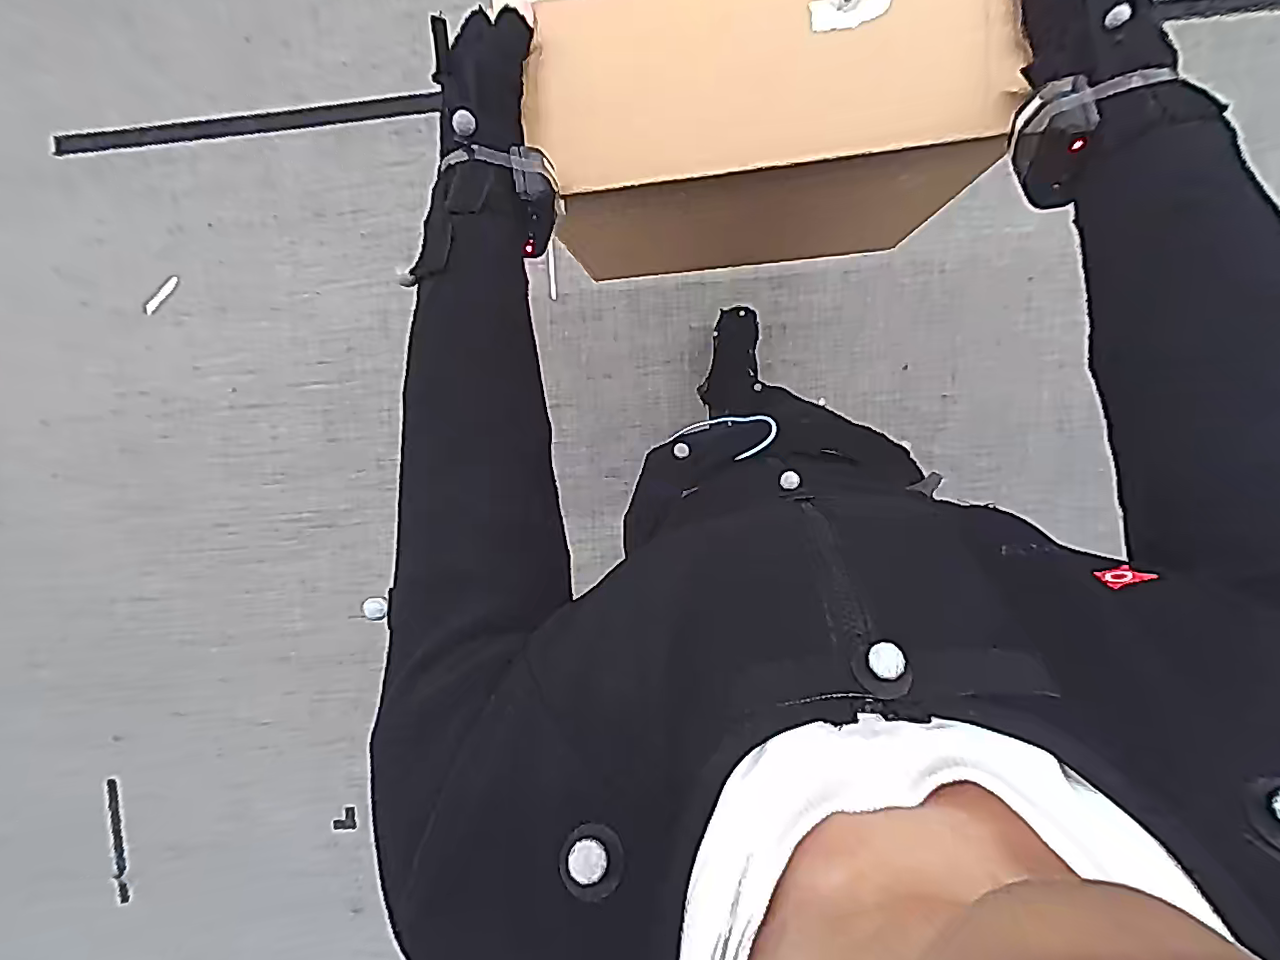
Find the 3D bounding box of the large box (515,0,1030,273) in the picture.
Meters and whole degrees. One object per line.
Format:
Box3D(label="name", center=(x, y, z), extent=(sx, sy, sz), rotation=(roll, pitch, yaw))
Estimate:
Box3D(label="large box", center=(0.104, -0.436, 0.569), extent=(0.408, 0.320, 0.320), rotation=(-5, 98, 6))
